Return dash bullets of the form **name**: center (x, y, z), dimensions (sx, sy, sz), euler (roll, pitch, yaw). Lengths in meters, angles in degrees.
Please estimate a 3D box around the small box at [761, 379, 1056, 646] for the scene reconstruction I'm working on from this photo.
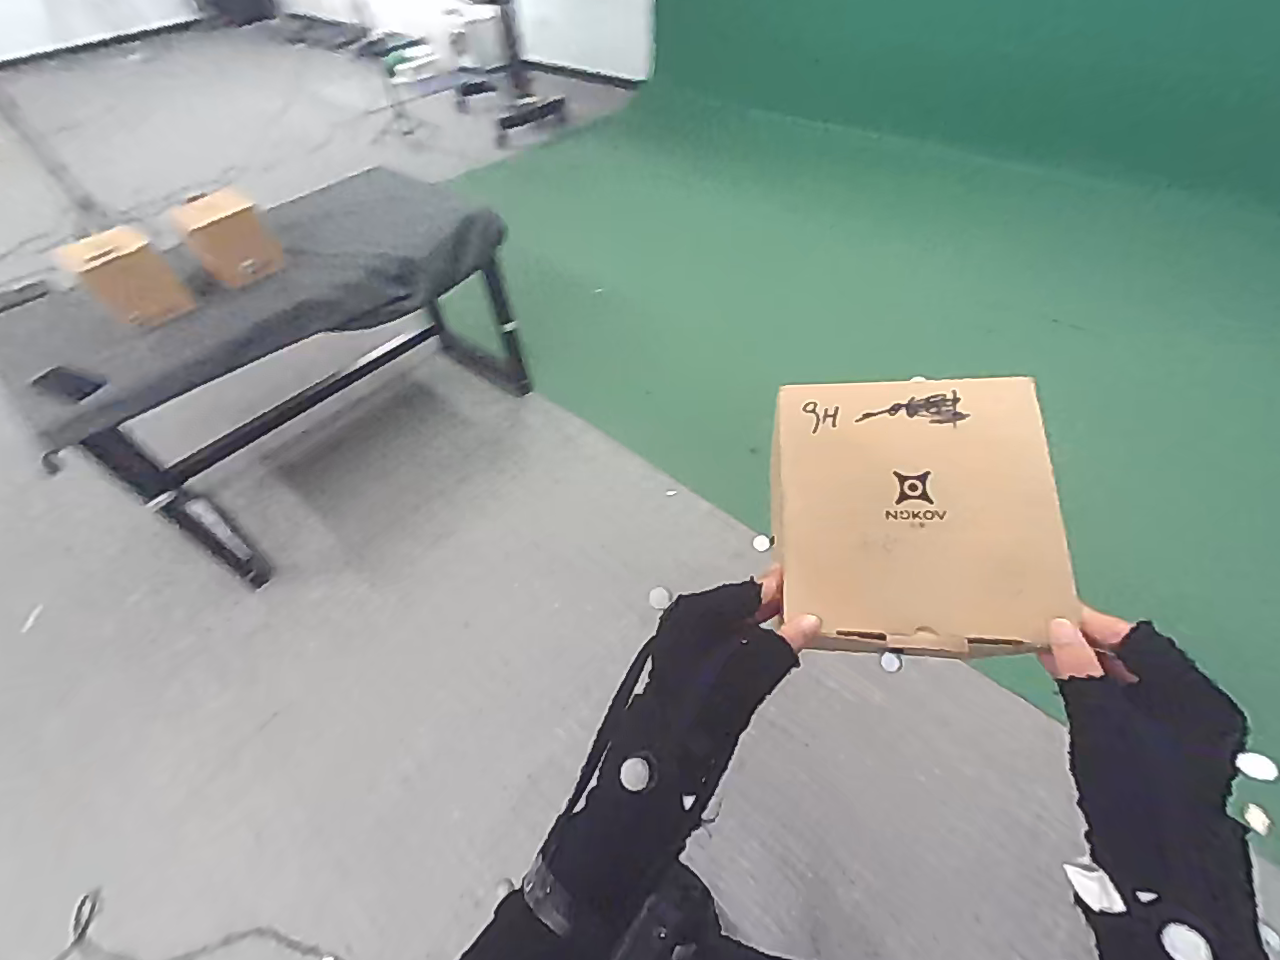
- **small box**: center (0.185, 0.038, 0.433), dimensions (0.168, 0.176, 0.179), euler (-1, 71, 10)

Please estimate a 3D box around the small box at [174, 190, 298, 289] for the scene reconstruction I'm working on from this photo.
- **small box**: center (-1.060, -0.633, 1.430), dimensions (0.179, 0.176, 0.168), euler (31, 60, 24)

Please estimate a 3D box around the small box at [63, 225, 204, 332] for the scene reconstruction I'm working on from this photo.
- **small box**: center (-1.217, -0.485, 1.313), dimensions (0.179, 0.176, 0.168), euler (31, 58, 27)
